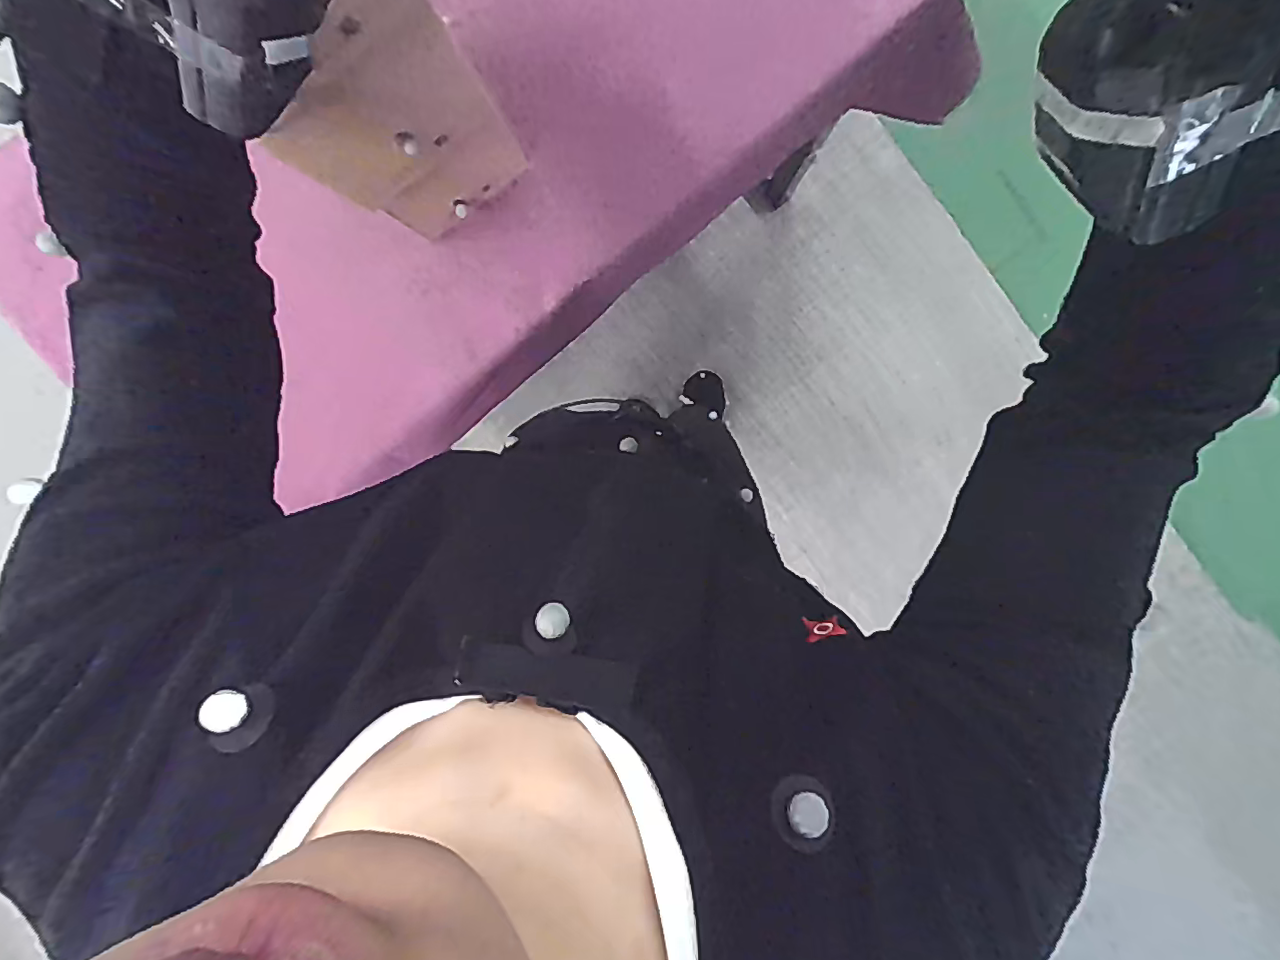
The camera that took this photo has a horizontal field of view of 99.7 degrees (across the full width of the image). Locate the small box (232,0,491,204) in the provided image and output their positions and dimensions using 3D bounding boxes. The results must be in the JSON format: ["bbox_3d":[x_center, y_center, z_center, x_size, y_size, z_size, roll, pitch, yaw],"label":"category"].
[{"bbox_3d":[-0.259,-0.376,0.454,0.168,0.176,0.179,-36,95,8],"label":"small box"}]

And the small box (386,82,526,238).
[{"bbox_3d":[-0.258,-0.413,0.614,0.168,0.176,0.179,-34,96,7],"label":"small box"}]
